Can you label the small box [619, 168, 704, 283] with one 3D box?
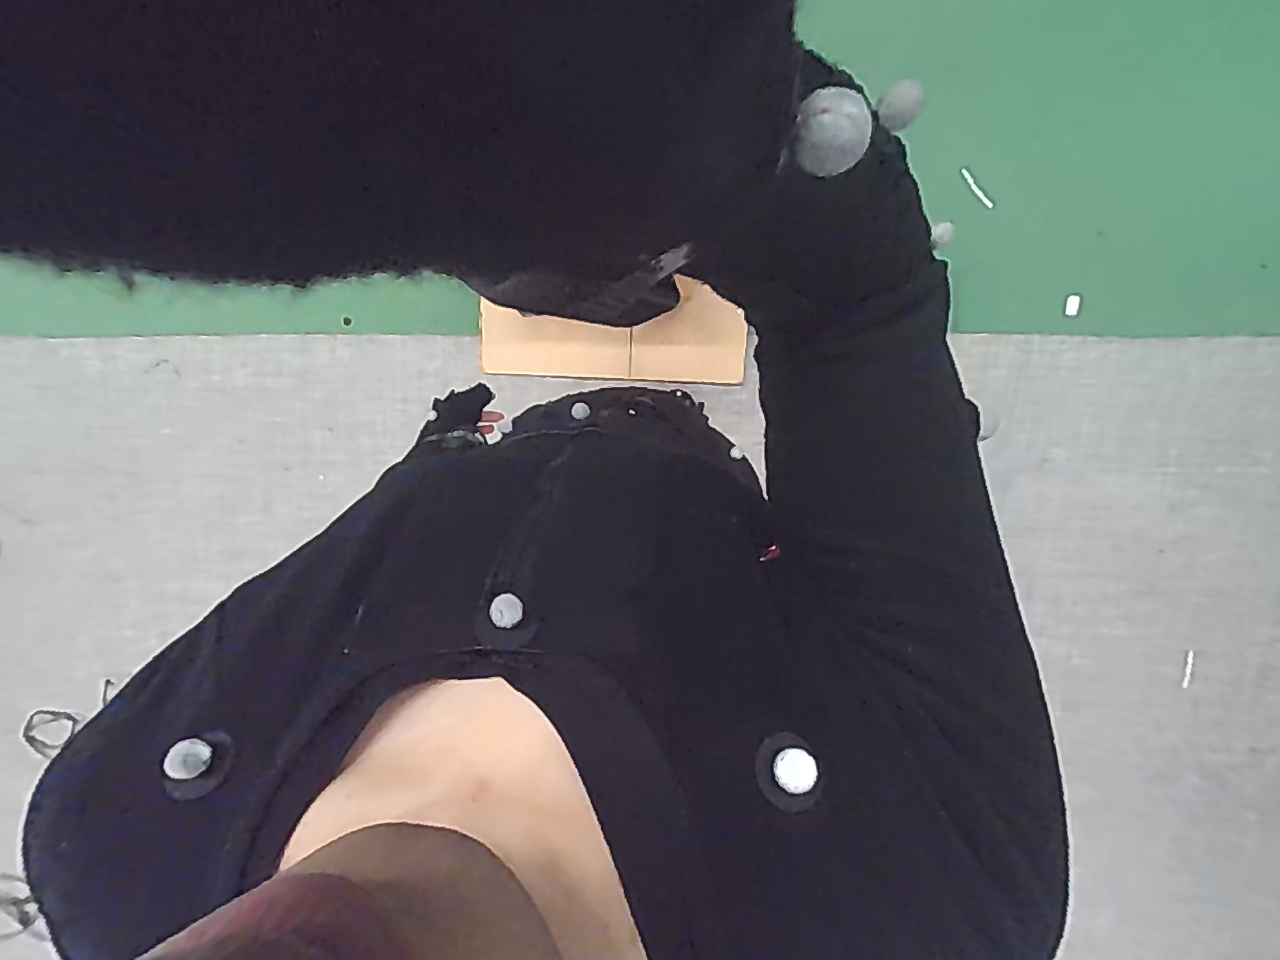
[{"bbox_3d":[0.044,-0.519,1.122,0.168,0.176,0.179,0,99,4],"label":"small box"}]
